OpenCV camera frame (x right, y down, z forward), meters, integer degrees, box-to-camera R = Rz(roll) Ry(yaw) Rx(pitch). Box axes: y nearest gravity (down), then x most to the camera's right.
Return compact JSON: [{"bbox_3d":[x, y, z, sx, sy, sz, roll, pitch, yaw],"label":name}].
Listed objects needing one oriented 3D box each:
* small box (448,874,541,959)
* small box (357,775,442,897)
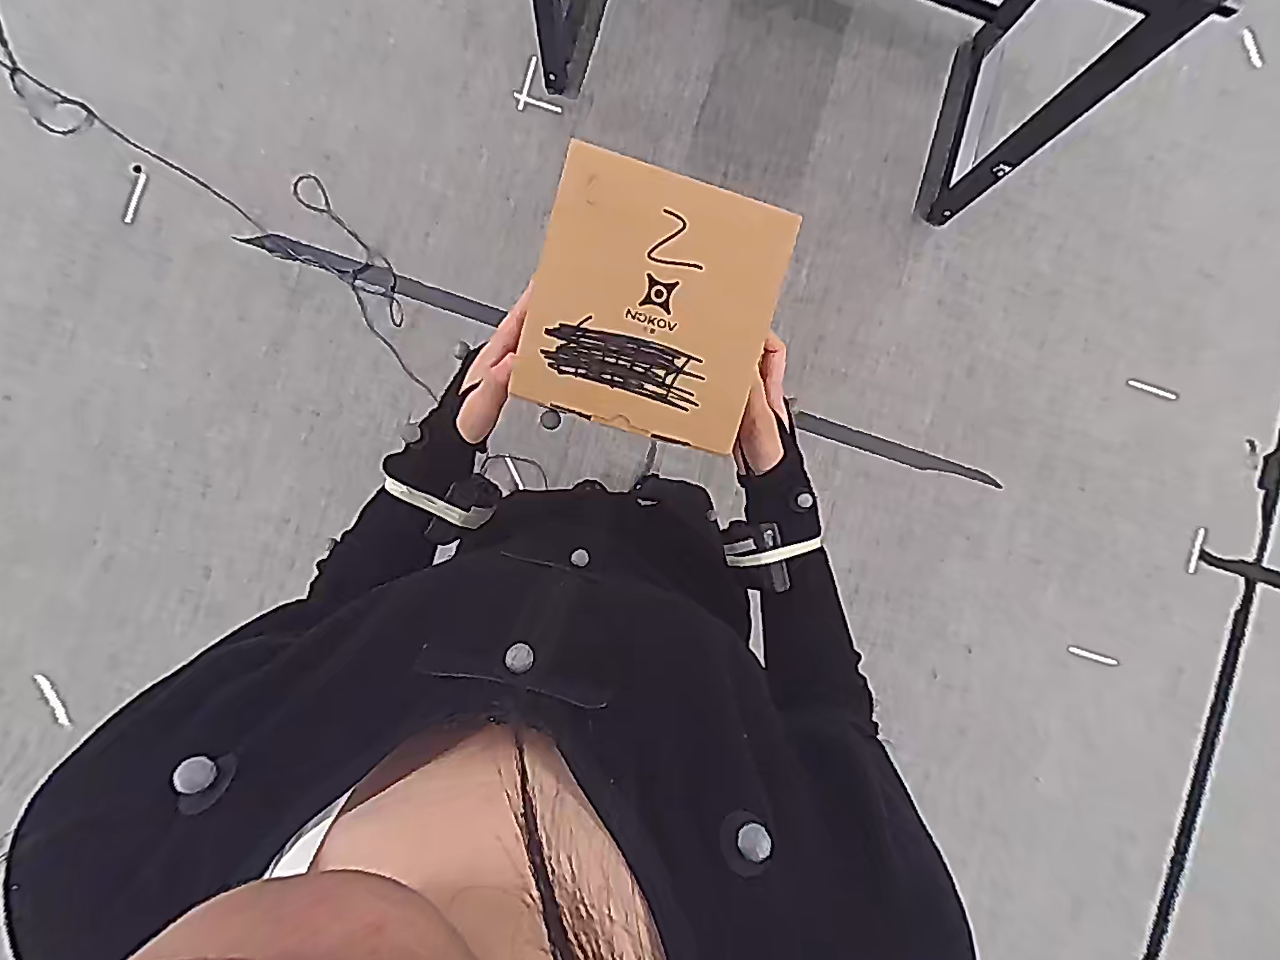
[{"bbox_3d":[-0.364,1.151,1.369,0.179,0.176,0.168,25,87,-5],"label":"small box"},{"bbox_3d":[-0.617,0.884,1.357,0.168,0.176,0.179,16,87,-4],"label":"small box"}]
